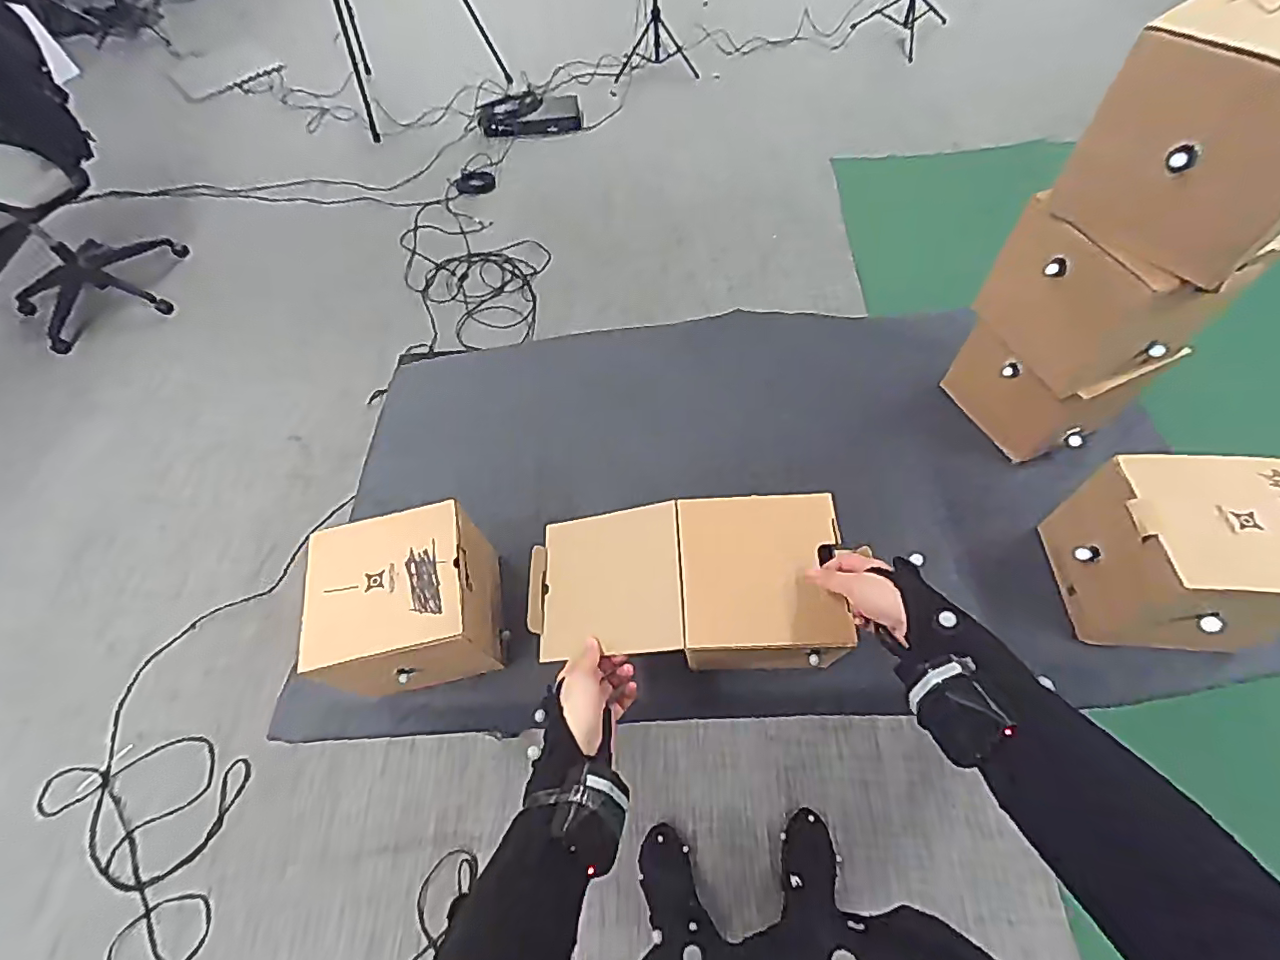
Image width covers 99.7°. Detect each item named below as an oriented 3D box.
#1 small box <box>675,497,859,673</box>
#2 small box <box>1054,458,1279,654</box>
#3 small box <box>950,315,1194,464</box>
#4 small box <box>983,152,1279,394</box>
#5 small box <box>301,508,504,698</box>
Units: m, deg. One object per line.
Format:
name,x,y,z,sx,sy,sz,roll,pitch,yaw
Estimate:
small box,0.137,0.132,0.639,0.179,0.176,0.168,-4,64,5
small box,0.619,0.091,0.617,0.179,0.176,0.168,1,56,7
small box,0.587,-0.154,0.769,0.168,0.176,0.179,-24,62,-5
small box,0.549,-0.233,0.628,0.168,0.176,0.179,-20,60,-3
small box,-0.274,0.157,0.665,0.179,0.176,0.168,-13,60,-2
